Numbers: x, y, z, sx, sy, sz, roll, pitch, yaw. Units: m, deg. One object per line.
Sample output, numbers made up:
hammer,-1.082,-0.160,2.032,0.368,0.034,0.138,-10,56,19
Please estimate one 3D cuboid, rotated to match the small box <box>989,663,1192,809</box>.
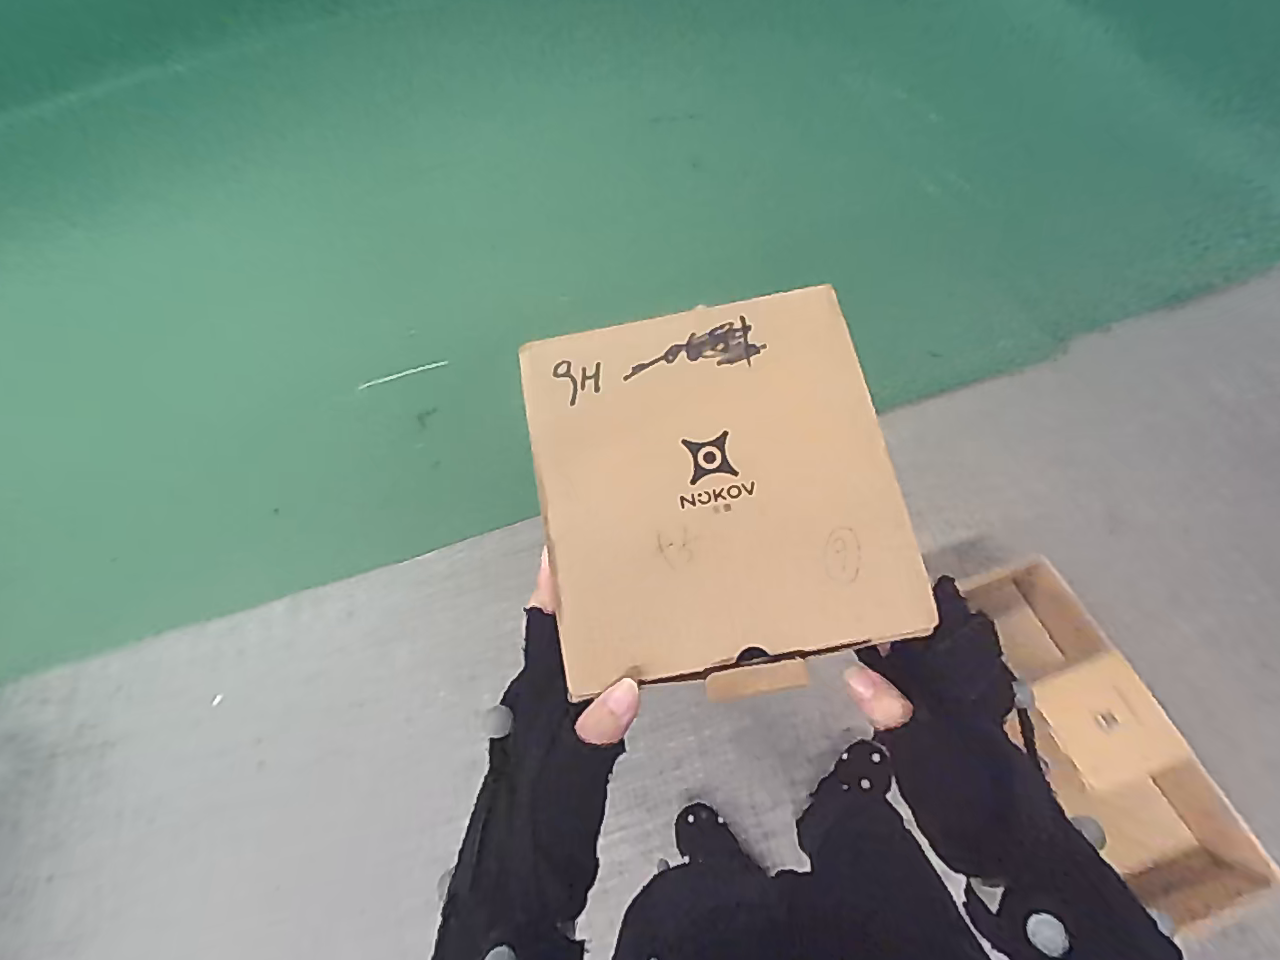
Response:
small box,0.732,0.428,0.912,0.179,0.176,0.168,-19,65,-5
